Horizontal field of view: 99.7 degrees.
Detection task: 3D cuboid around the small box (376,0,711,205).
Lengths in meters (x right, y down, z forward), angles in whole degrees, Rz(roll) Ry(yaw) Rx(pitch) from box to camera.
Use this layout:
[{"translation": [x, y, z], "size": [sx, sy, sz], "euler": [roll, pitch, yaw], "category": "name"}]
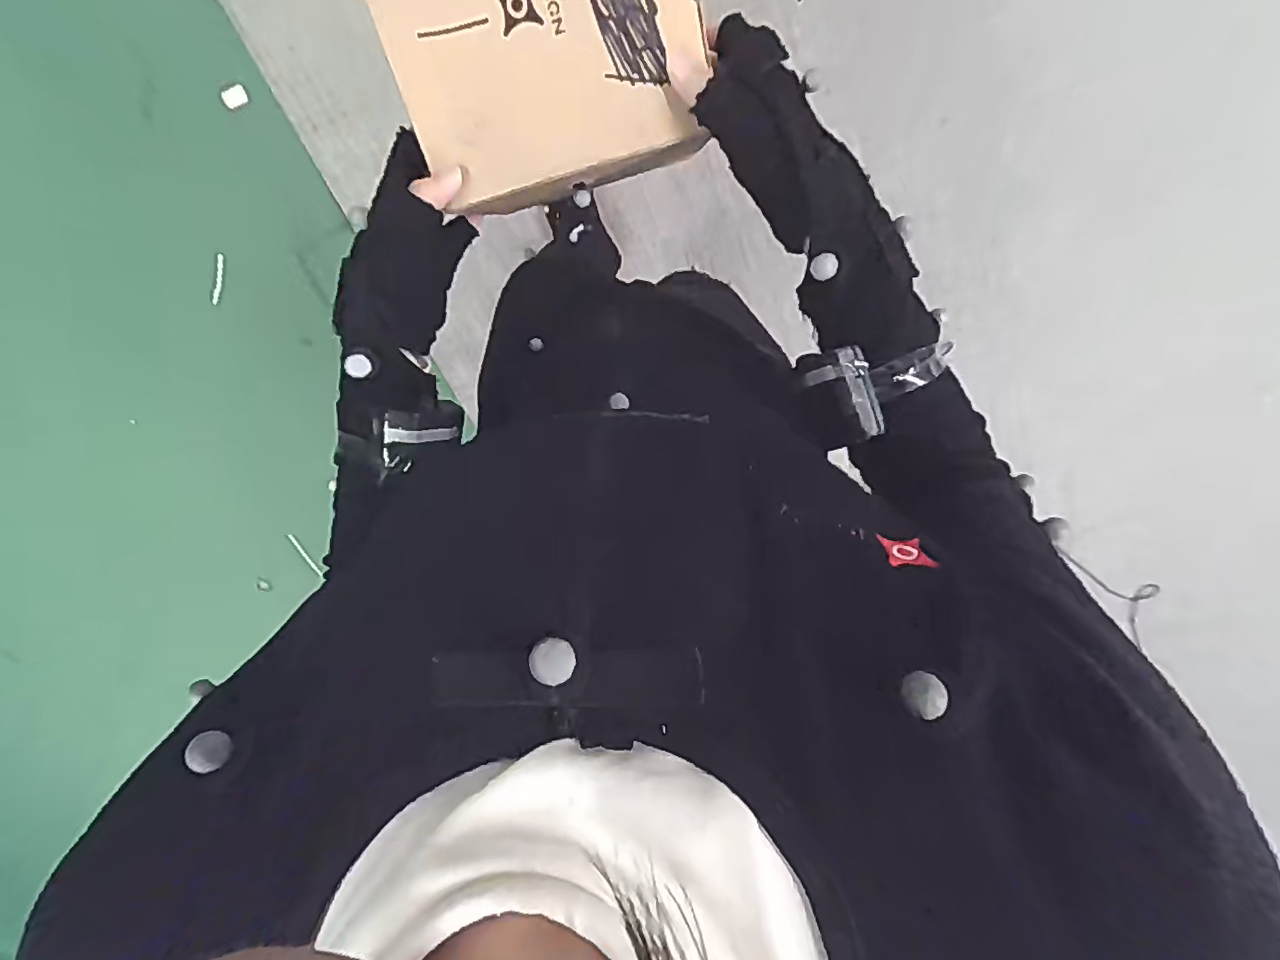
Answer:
[{"translation": [-0.061, -0.303, 0.377], "size": [0.179, 0.176, 0.168], "euler": [-13, 114, 6], "category": "small box"}]
